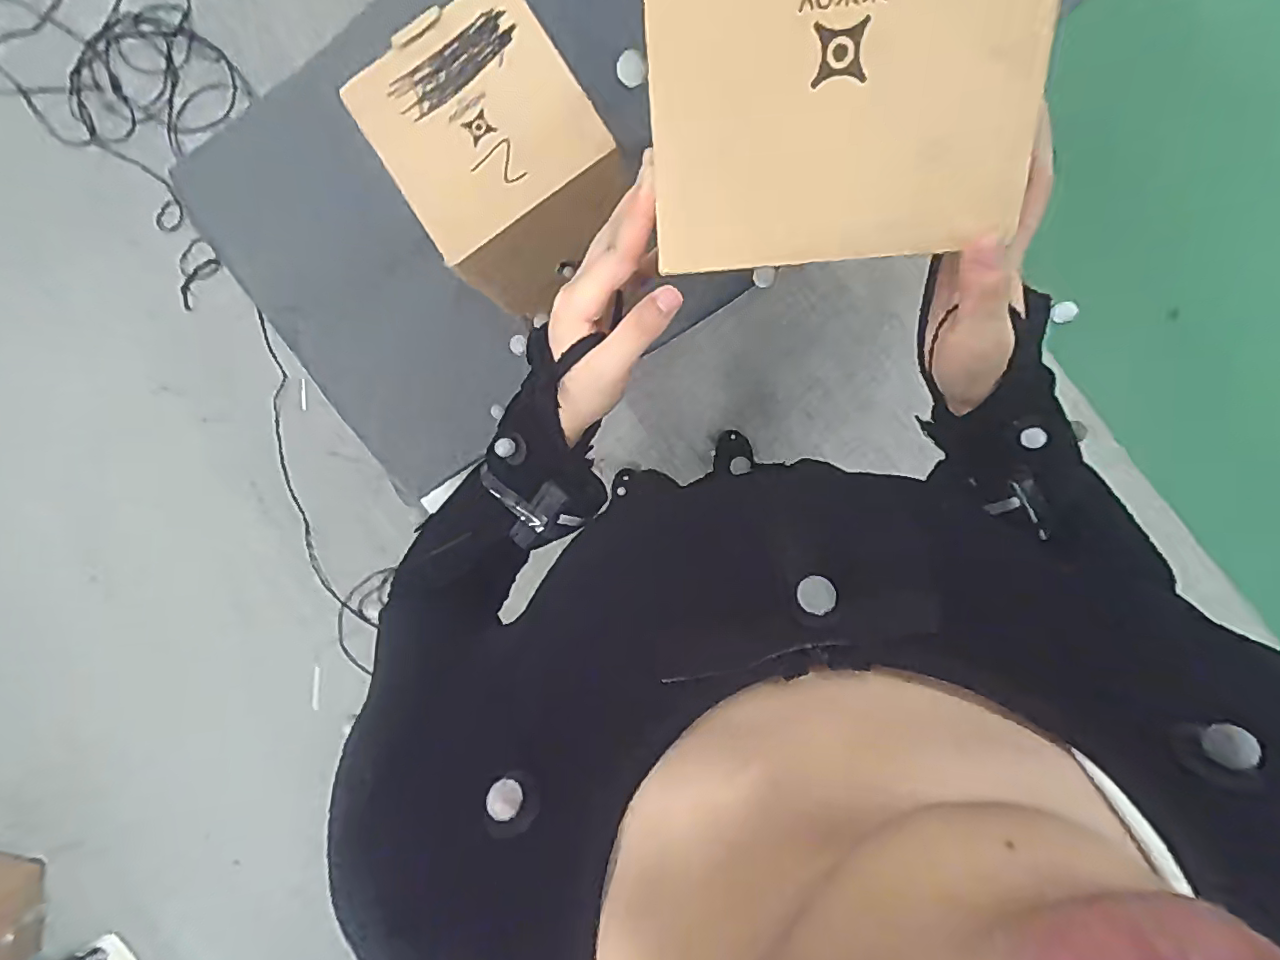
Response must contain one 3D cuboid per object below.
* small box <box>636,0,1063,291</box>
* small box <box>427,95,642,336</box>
[{"bbox_3d":[0.090,-0.207,0.293,0.168,0.176,0.179,-1,114,7],"label":"small box"},{"bbox_3d":[-0.117,-0.306,0.671,0.168,0.176,0.179,-38,88,7],"label":"small box"}]
